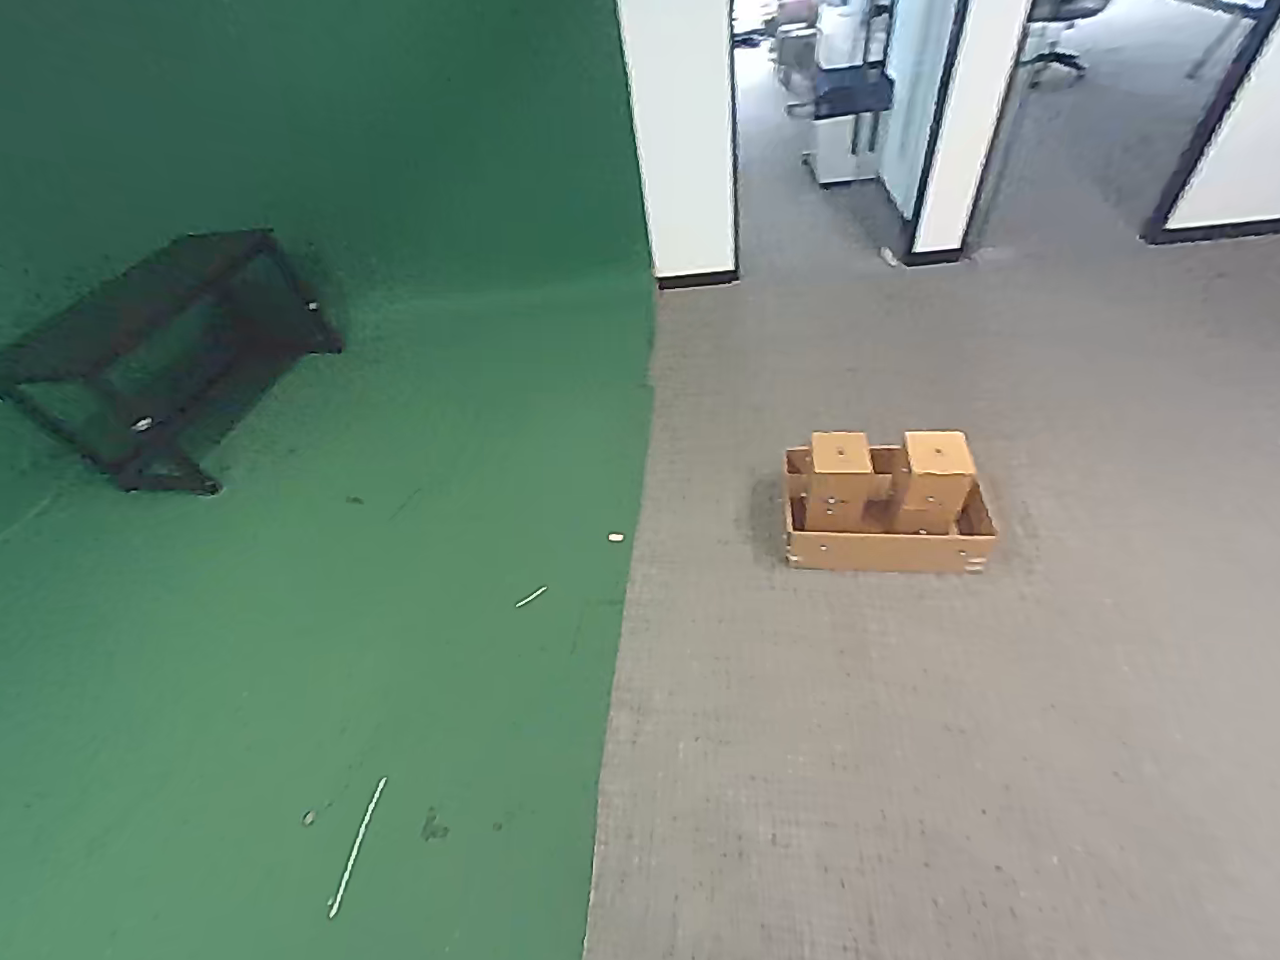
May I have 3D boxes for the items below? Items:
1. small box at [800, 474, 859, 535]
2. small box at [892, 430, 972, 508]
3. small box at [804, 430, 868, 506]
[{"bbox_3d":[0.640,0.066,1.843,0.168,0.176,0.179,2,48,12],"label":"small box"},{"bbox_3d":[0.891,-0.036,1.670,0.168,0.176,0.179,1,49,12],"label":"small box"},{"bbox_3d":[0.618,-0.041,1.722,0.168,0.176,0.179,2,49,12],"label":"small box"}]
